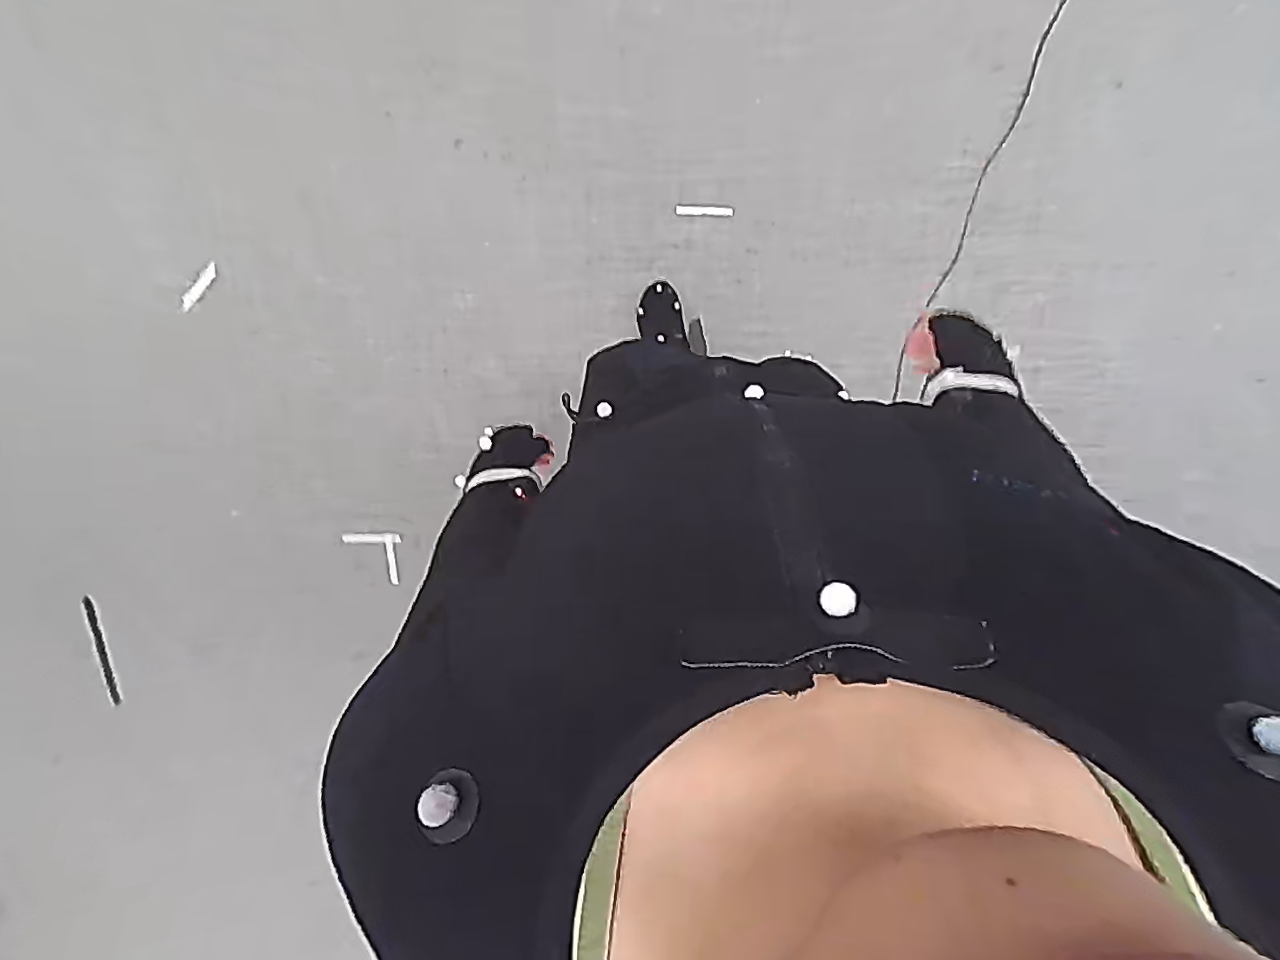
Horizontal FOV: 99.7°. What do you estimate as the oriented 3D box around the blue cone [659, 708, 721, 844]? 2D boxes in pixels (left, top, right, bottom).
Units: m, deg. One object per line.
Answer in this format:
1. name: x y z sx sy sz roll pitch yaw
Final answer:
1. blue cone: 0.148 0.829 1.511 0.193 0.380 0.192 1 105 2
